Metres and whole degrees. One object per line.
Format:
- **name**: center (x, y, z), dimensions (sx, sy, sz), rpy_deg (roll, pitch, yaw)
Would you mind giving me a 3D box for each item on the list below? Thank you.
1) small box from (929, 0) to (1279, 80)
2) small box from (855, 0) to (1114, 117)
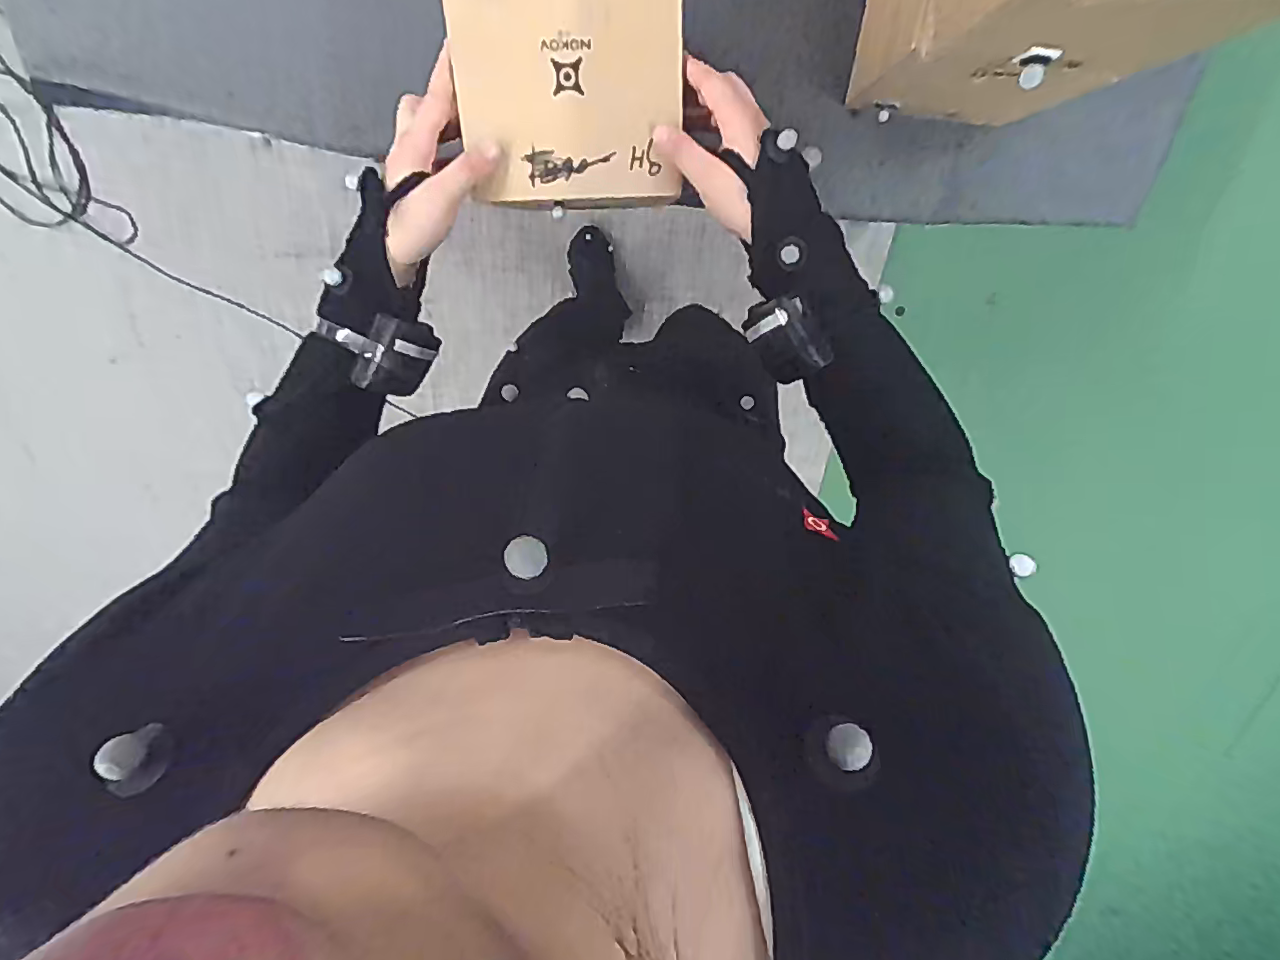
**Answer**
- **small box**: center (0.294, -0.357, 0.304), dimensions (0.168, 0.176, 0.179), rpy_deg (3, 114, 2)
- **small box**: center (0.299, -0.426, 0.451), dimensions (0.168, 0.176, 0.179), rpy_deg (6, 113, -1)
